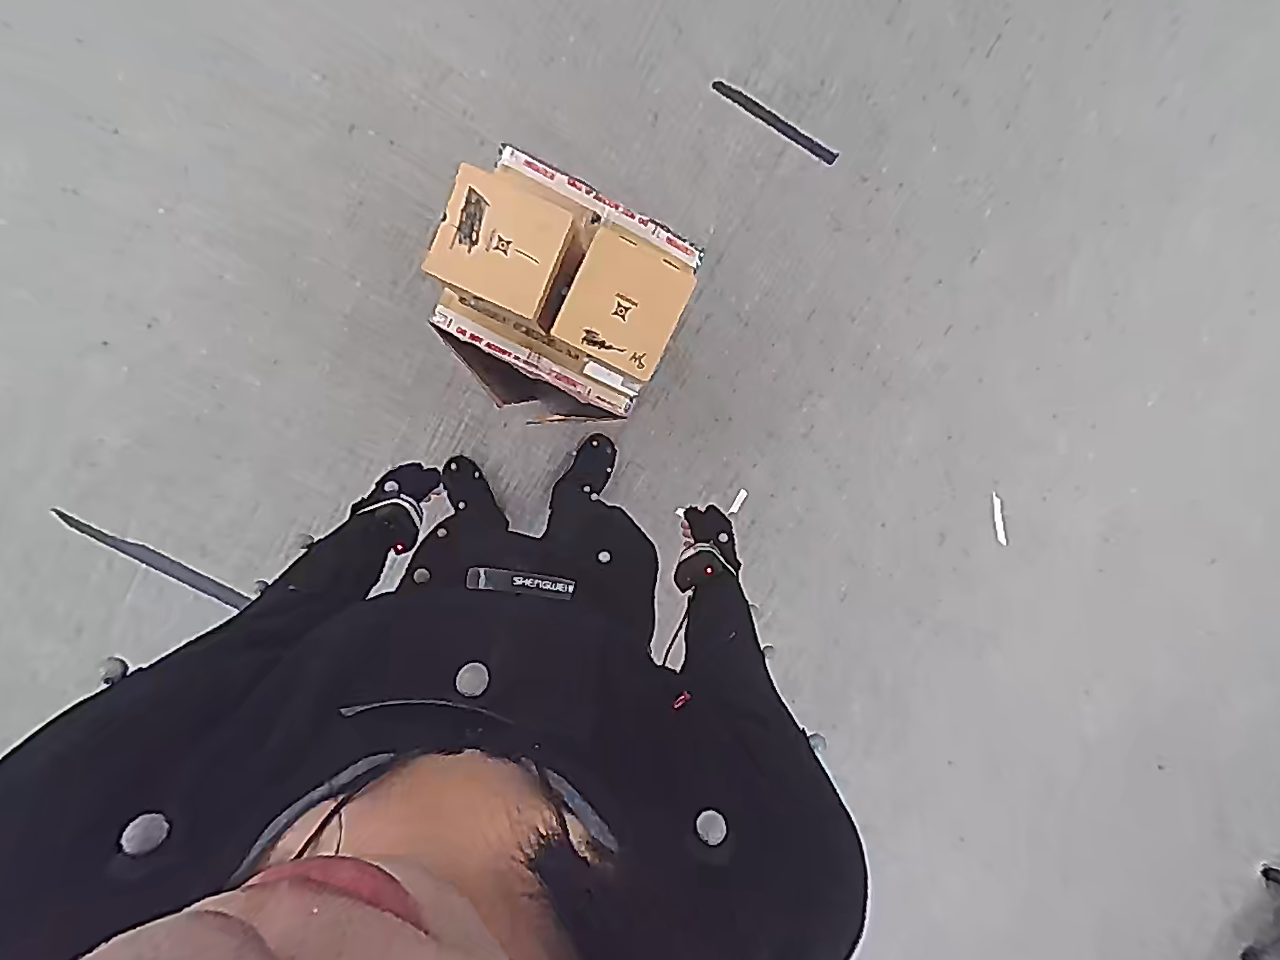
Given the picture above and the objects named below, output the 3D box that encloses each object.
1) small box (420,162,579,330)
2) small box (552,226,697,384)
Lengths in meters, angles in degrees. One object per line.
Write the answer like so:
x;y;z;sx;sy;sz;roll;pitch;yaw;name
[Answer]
-0.209;-0.353;0.857;0.179;0.176;0.168;23;96;-5;small box
-0.031;-0.270;0.880;0.168;0.176;0.179;26;96;-8;small box
